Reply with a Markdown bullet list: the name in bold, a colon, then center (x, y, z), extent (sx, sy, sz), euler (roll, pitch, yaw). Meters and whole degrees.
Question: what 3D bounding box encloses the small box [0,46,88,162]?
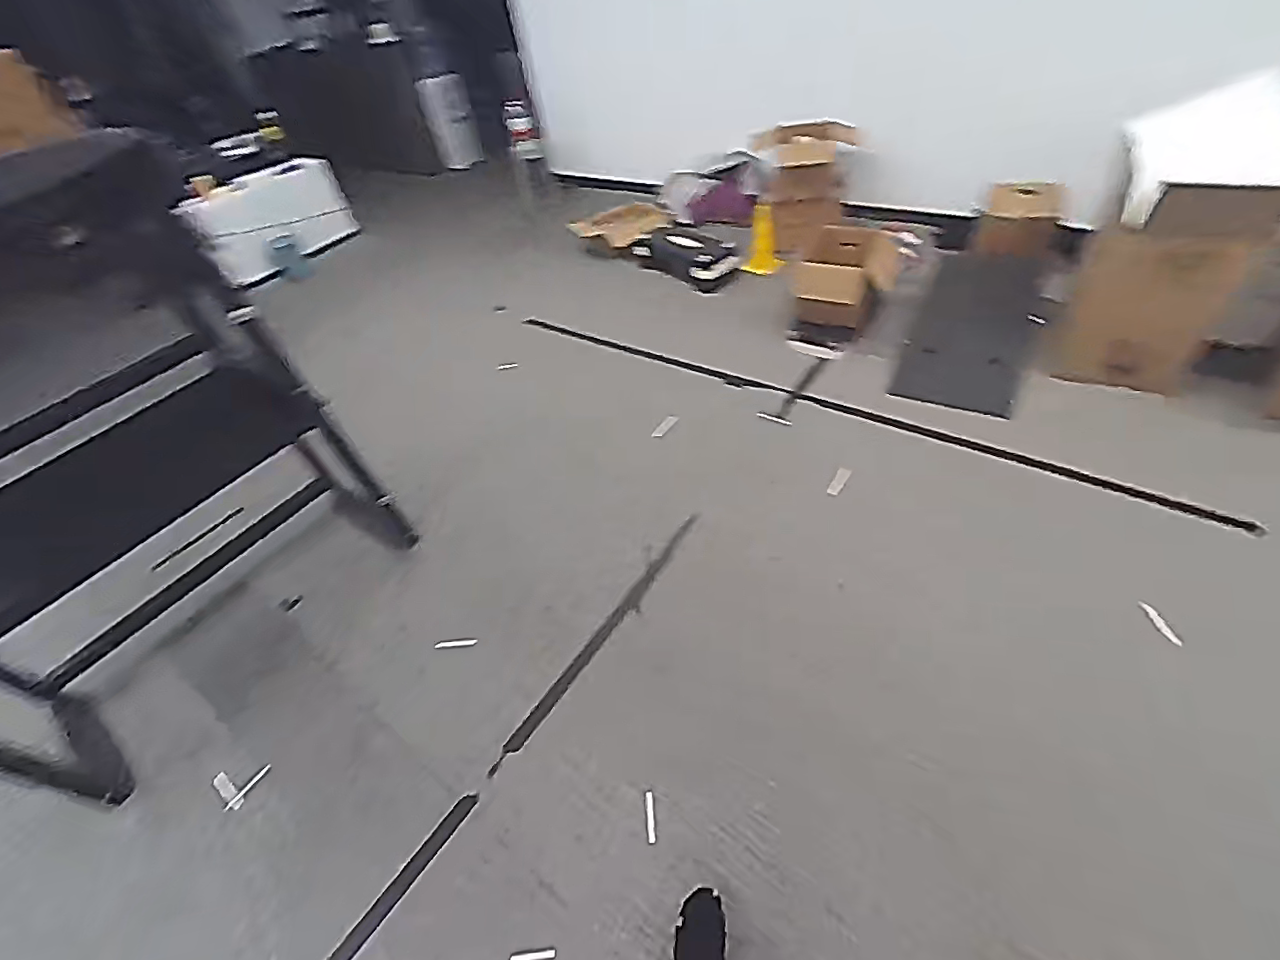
- **small box**: center (-1.343, -0.796, 1.148), extent (0.179, 0.176, 0.168), euler (30, 59, 32)
